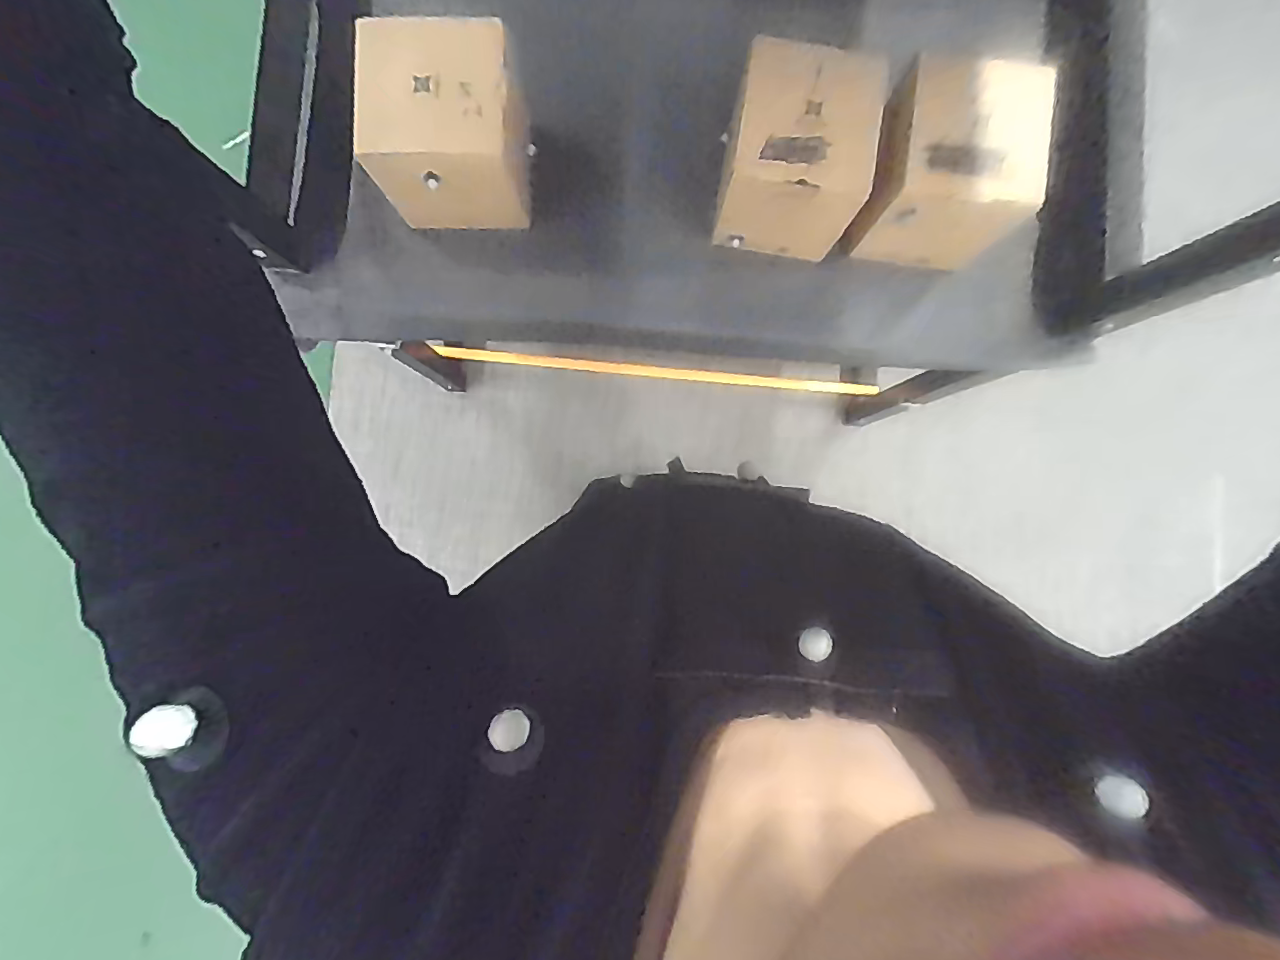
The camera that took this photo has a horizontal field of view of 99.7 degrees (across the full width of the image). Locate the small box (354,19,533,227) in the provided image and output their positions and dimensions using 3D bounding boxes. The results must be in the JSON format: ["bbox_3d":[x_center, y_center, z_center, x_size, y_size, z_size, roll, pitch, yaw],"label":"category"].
[{"bbox_3d":[-0.245,-0.452,0.710,0.179,0.176,0.168,0,87,-1],"label":"small box"}]
